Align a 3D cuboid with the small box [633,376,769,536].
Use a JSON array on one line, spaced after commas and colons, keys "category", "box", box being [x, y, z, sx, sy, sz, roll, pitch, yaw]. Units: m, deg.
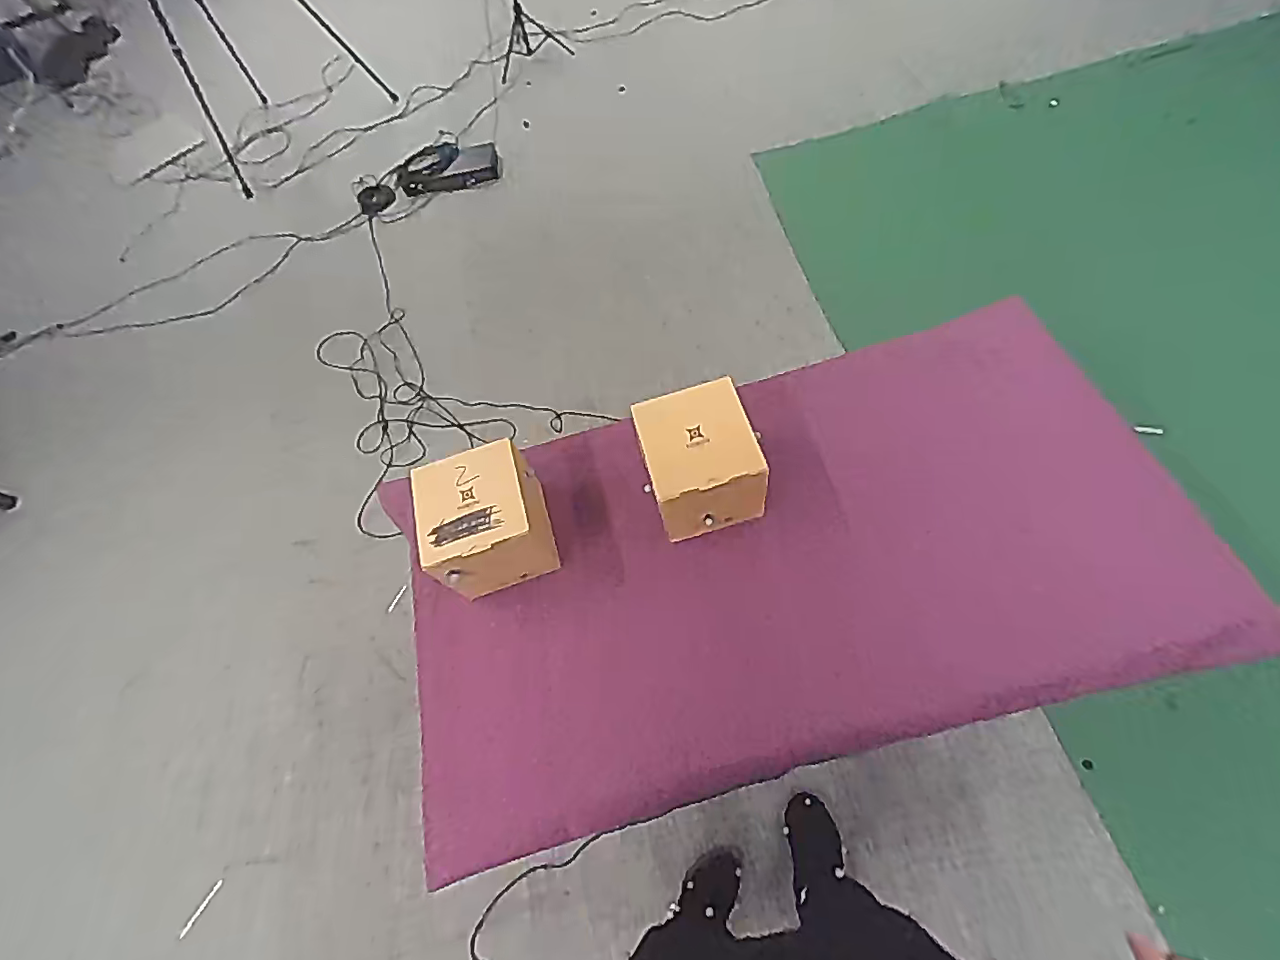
[{"category": "small box", "box": [0.096, -0.033, 0.871, 0.168, 0.176, 0.179, -17, 63, 1]}]
